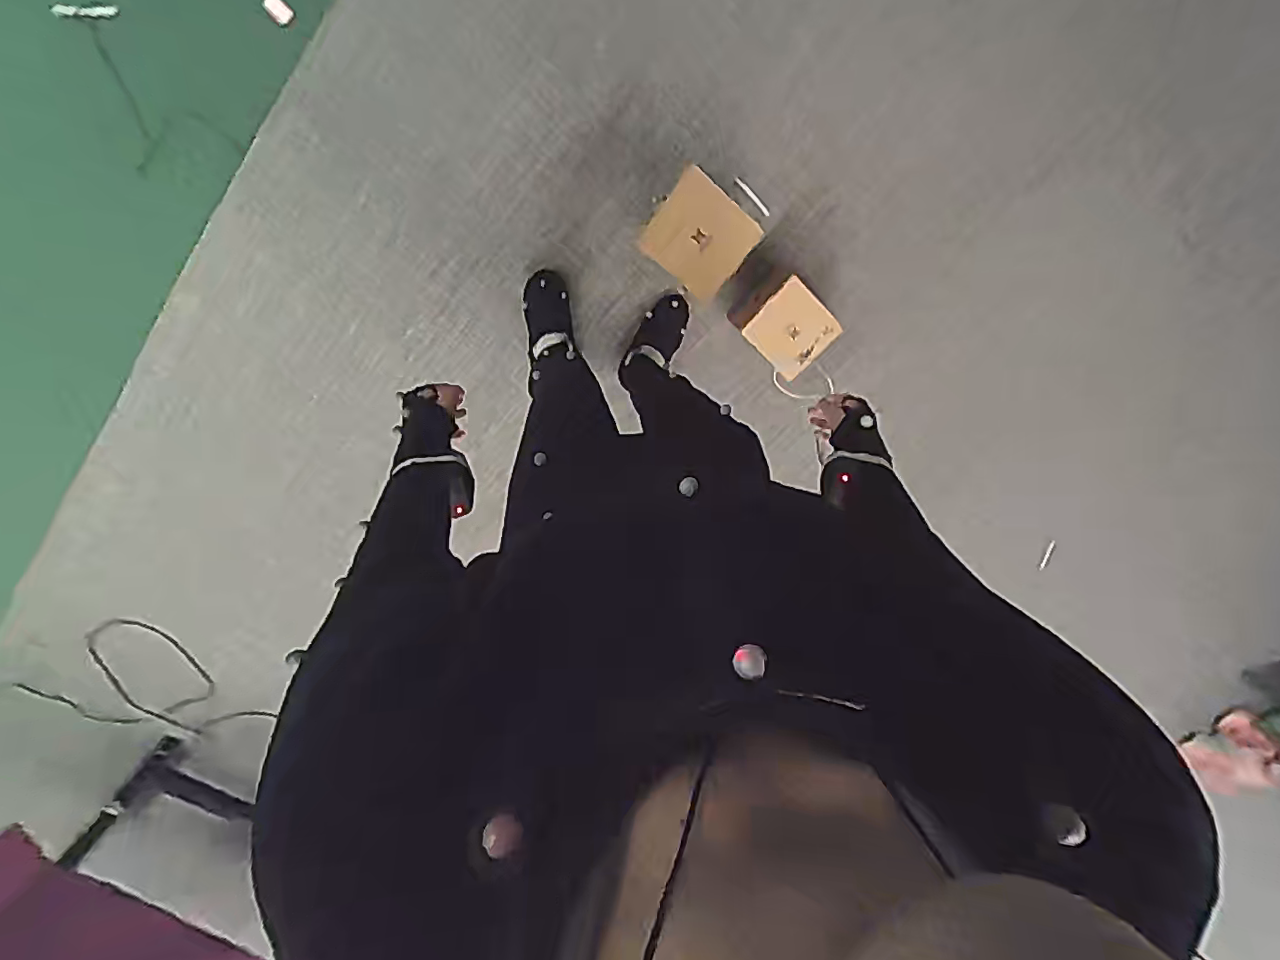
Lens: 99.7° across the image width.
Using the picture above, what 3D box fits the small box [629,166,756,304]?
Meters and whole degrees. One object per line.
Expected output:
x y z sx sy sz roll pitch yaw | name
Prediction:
0.096 -0.475 1.058 0.179 0.176 0.168 37 108 -15 | small box
